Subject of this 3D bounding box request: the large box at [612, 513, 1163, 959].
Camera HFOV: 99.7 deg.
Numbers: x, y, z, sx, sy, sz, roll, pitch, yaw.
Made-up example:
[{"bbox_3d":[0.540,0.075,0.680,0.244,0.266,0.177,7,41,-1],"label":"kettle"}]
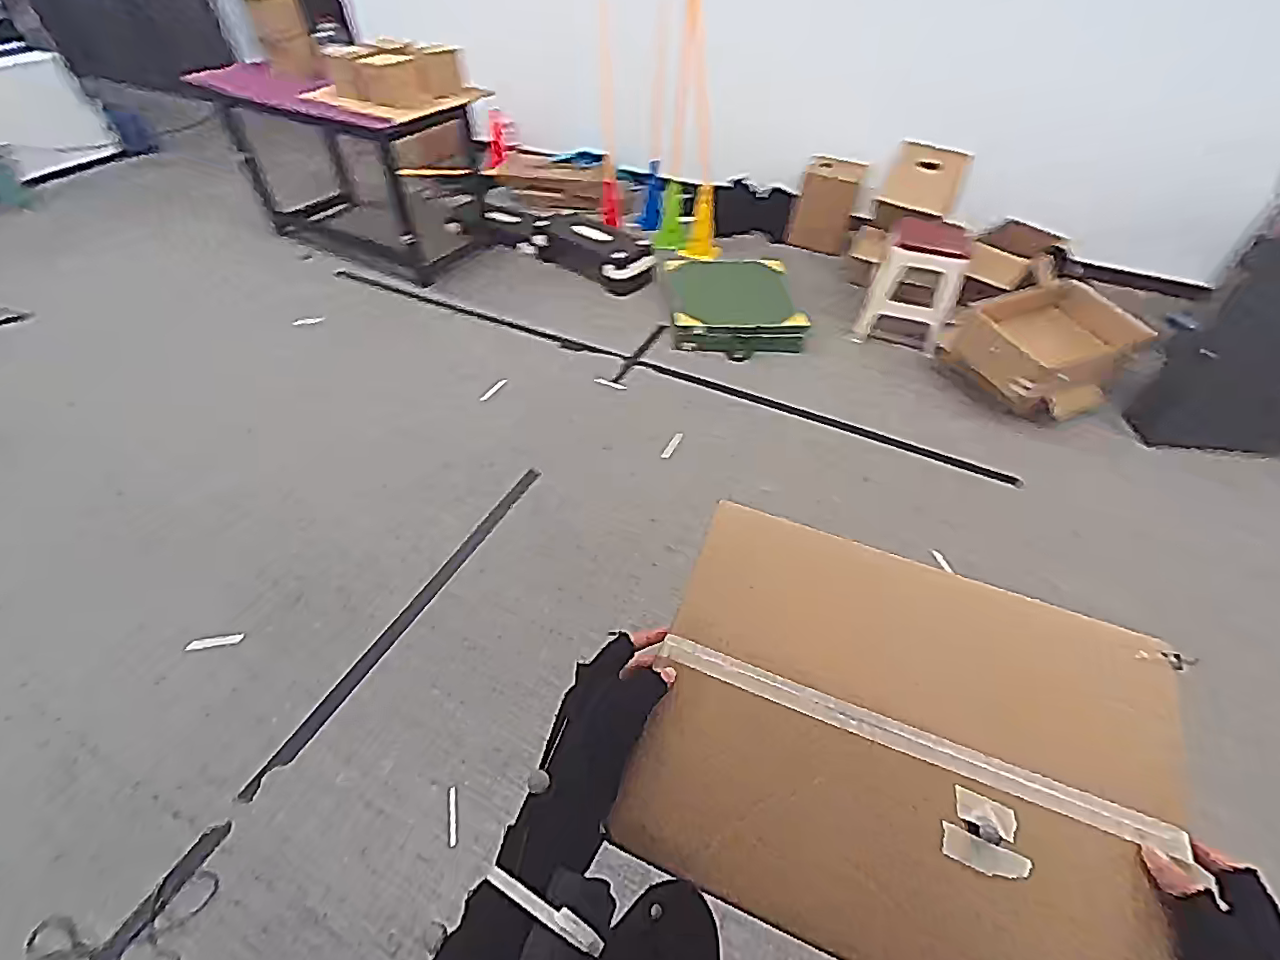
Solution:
[{"bbox_3d":[0.218,0.285,0.588,0.408,0.320,0.320,18,64,13],"label":"large box"}]
